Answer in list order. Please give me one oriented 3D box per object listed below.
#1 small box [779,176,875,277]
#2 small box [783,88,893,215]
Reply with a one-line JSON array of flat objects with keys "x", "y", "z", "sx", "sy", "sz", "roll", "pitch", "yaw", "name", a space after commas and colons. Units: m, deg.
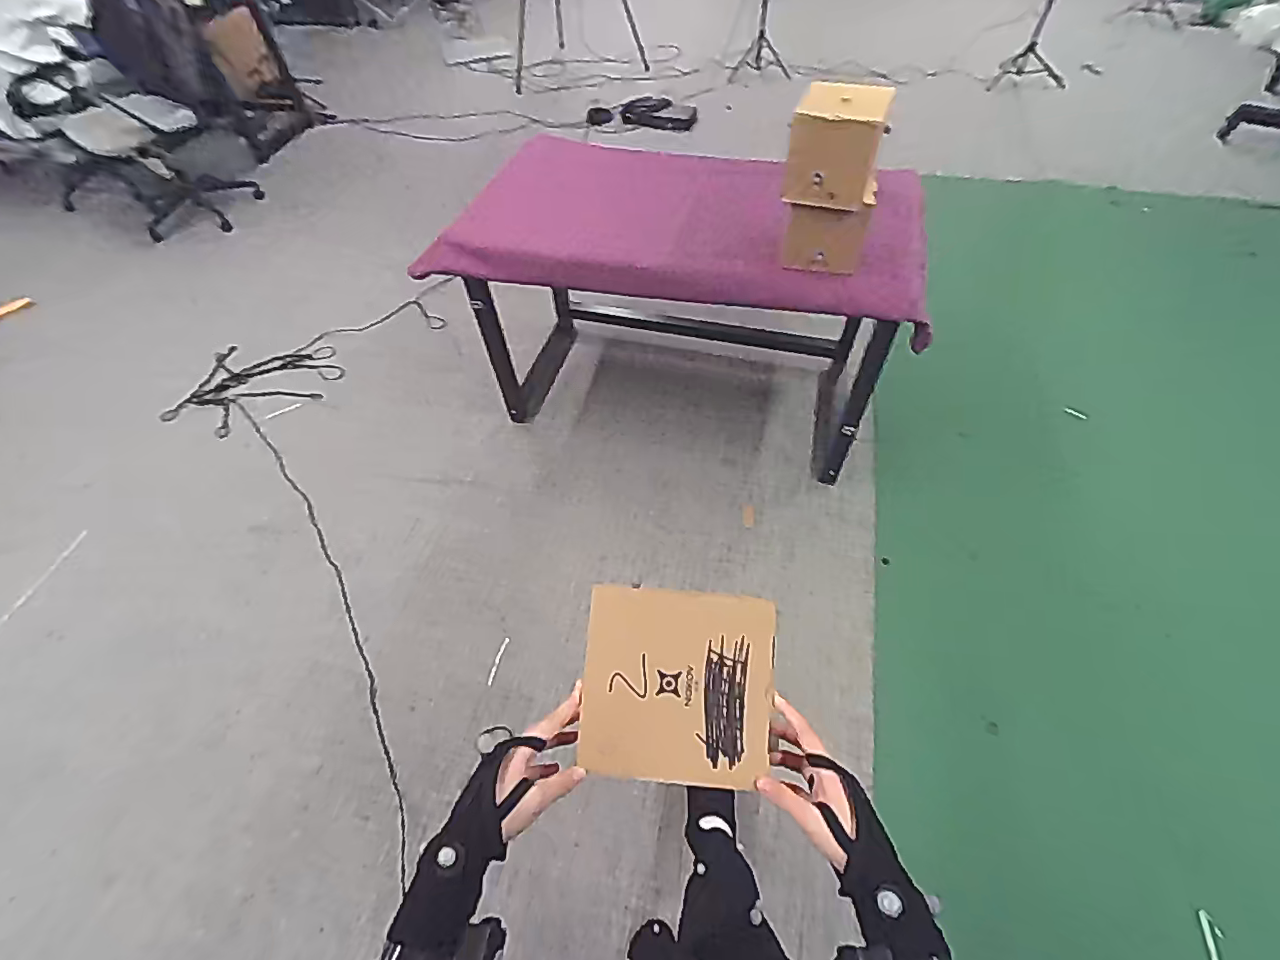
[{"x": 0.433, "y": -0.595, "z": 1.262, "sx": 0.179, "sy": 0.176, "sz": 0.168, "roll": 10, "pitch": 53, "yaw": 11, "name": "small box"}, {"x": 0.406, "y": -0.682, "z": 1.125, "sx": 0.168, "sy": 0.176, "sz": 0.179, "roll": 16, "pitch": 56, "yaw": 17, "name": "small box"}]
